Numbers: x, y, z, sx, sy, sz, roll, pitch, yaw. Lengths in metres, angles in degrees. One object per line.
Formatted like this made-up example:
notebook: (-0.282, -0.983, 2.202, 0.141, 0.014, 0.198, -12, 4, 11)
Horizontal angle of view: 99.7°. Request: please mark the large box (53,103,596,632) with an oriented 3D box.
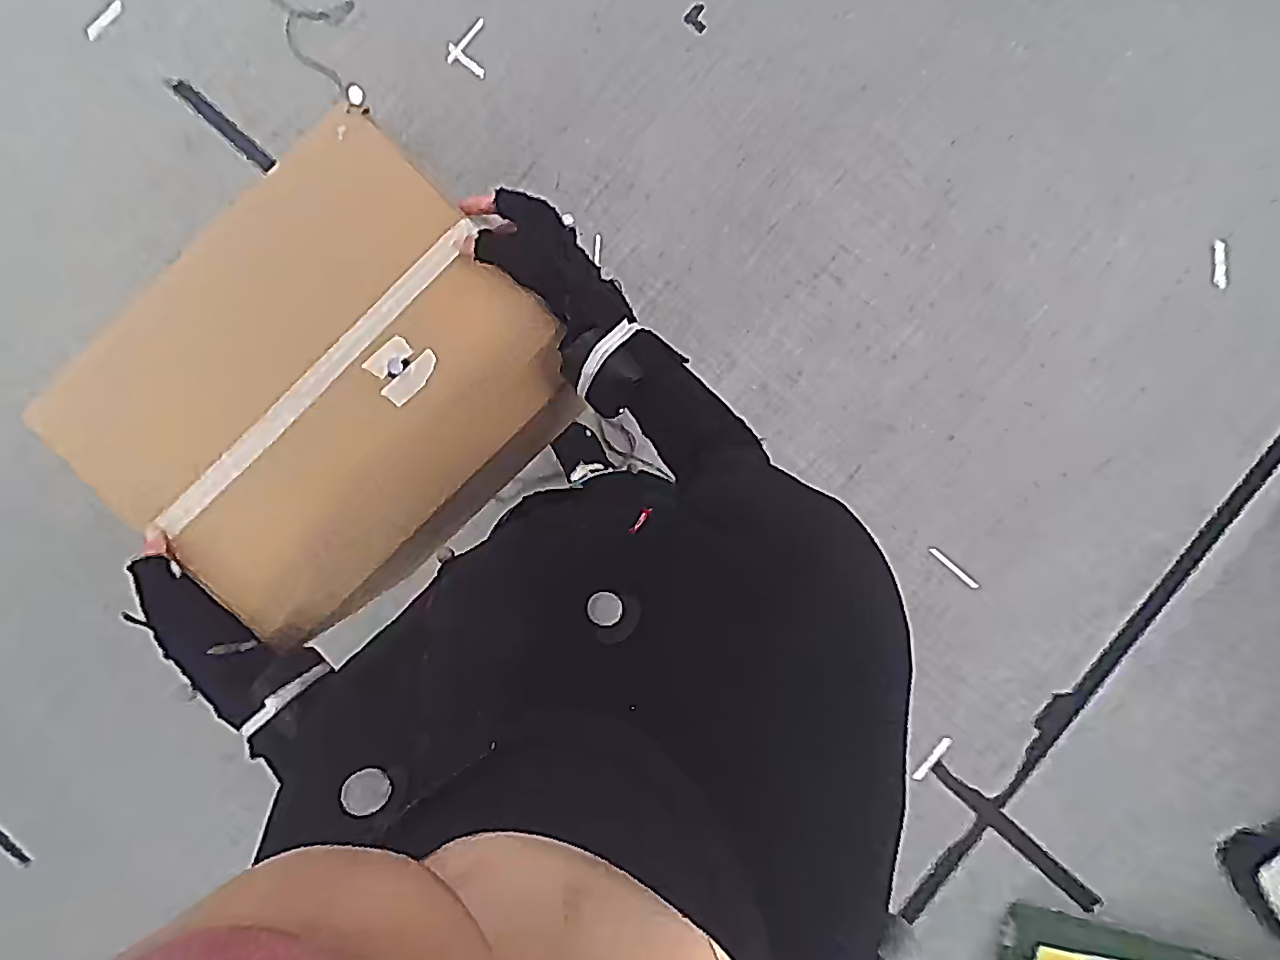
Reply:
large box: (-0.299, -0.105, 0.649, 0.408, 0.320, 0.320, -44, 95, -1)
